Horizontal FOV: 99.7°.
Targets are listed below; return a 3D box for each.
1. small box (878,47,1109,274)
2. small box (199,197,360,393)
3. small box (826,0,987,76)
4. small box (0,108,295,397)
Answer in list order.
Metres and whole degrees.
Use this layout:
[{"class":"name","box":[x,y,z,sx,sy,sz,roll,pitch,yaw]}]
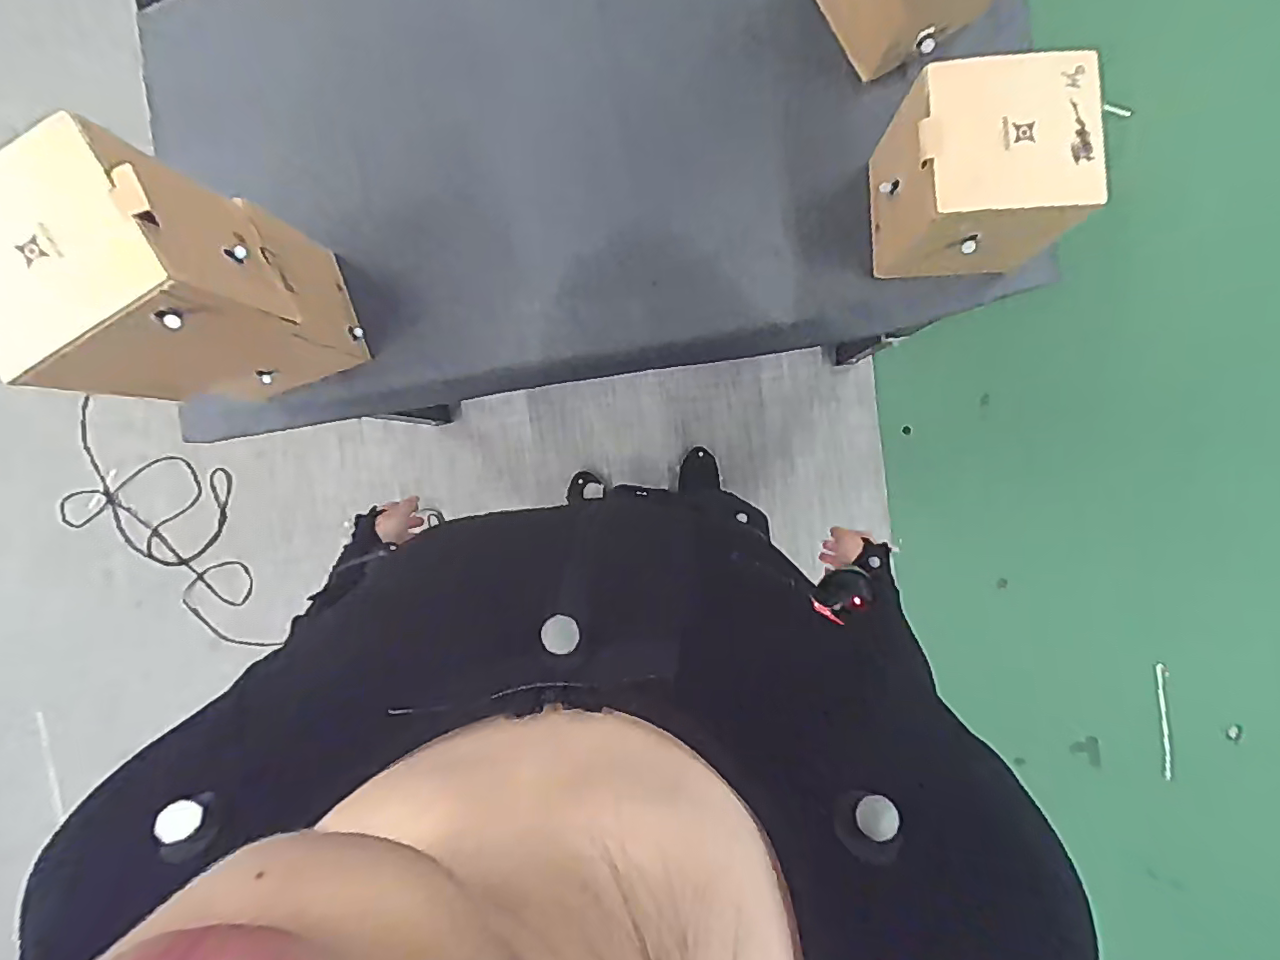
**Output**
[{"class":"small box","box":[0.392,-0.356,0.635,0.179,0.176,0.168,-2,89,4]},{"class":"small box","box":[-0.492,-0.220,0.691,0.179,0.176,0.168,-19,92,4]},{"class":"small box","box":[0.326,-0.637,0.630,0.168,0.176,0.179,-30,93,7]},{"class":"small box","box":[-0.495,-0.197,0.529,0.179,0.176,0.168,-31,92,3]}]
